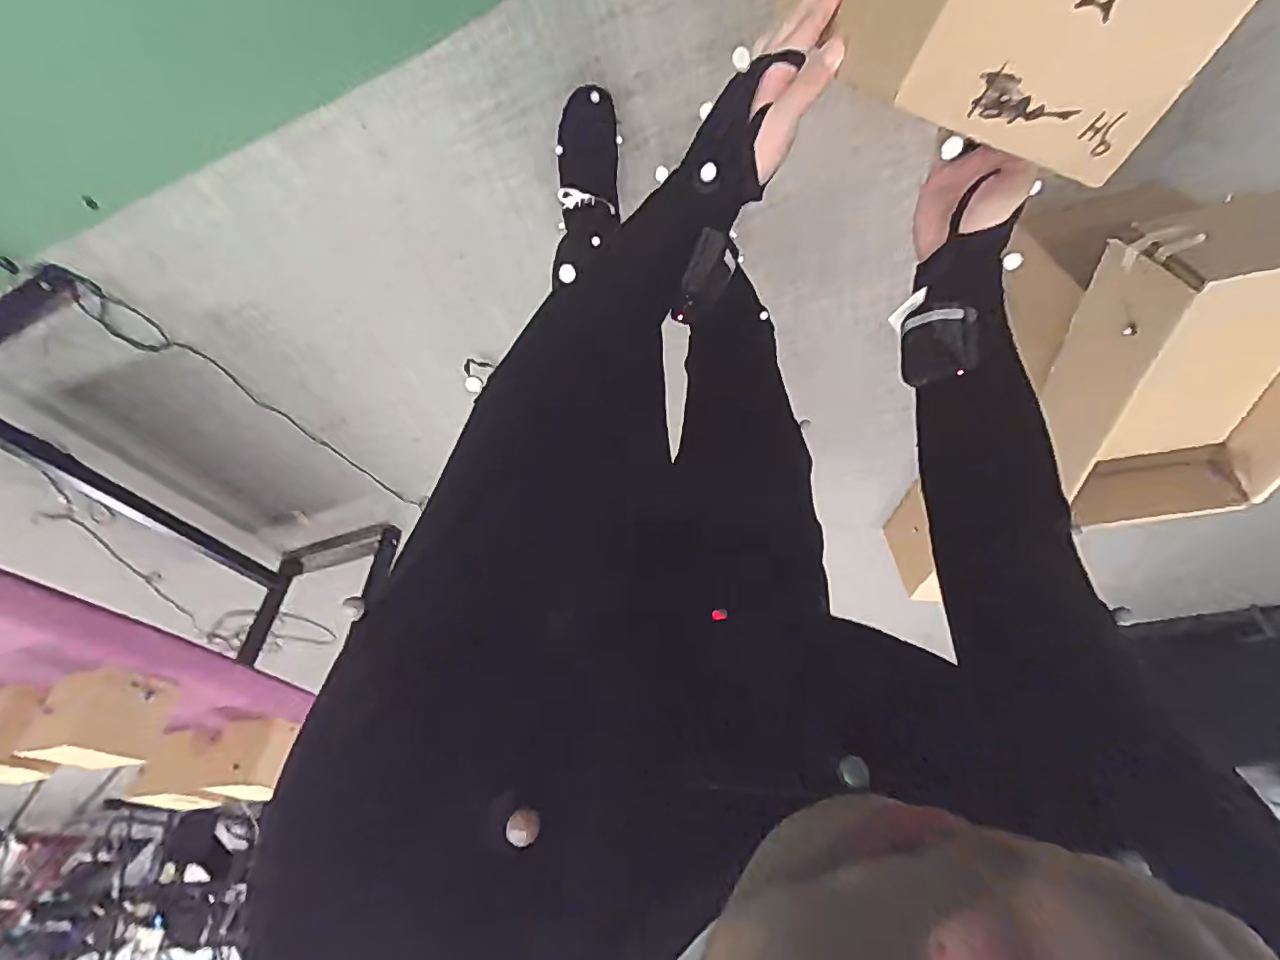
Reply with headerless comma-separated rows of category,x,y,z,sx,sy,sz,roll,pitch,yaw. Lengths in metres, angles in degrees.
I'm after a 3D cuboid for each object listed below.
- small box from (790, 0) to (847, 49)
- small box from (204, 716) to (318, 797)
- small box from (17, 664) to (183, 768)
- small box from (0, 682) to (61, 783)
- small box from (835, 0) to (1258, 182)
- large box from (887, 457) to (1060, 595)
small box,0.247,-0.449,0.449,0.168,0.176,0.179,11,133,-14
small box,-1.025,0.760,1.486,0.179,0.176,0.168,-12,139,15
small box,-1.185,0.526,1.204,0.179,0.176,0.168,-14,140,15
small box,-1.476,0.601,1.287,0.179,0.176,0.168,-19,137,18
small box,0.252,-0.326,0.339,0.168,0.176,0.179,10,133,-14
large box,1.125,0.166,1.889,0.320,0.320,0.408,1,139,-3
